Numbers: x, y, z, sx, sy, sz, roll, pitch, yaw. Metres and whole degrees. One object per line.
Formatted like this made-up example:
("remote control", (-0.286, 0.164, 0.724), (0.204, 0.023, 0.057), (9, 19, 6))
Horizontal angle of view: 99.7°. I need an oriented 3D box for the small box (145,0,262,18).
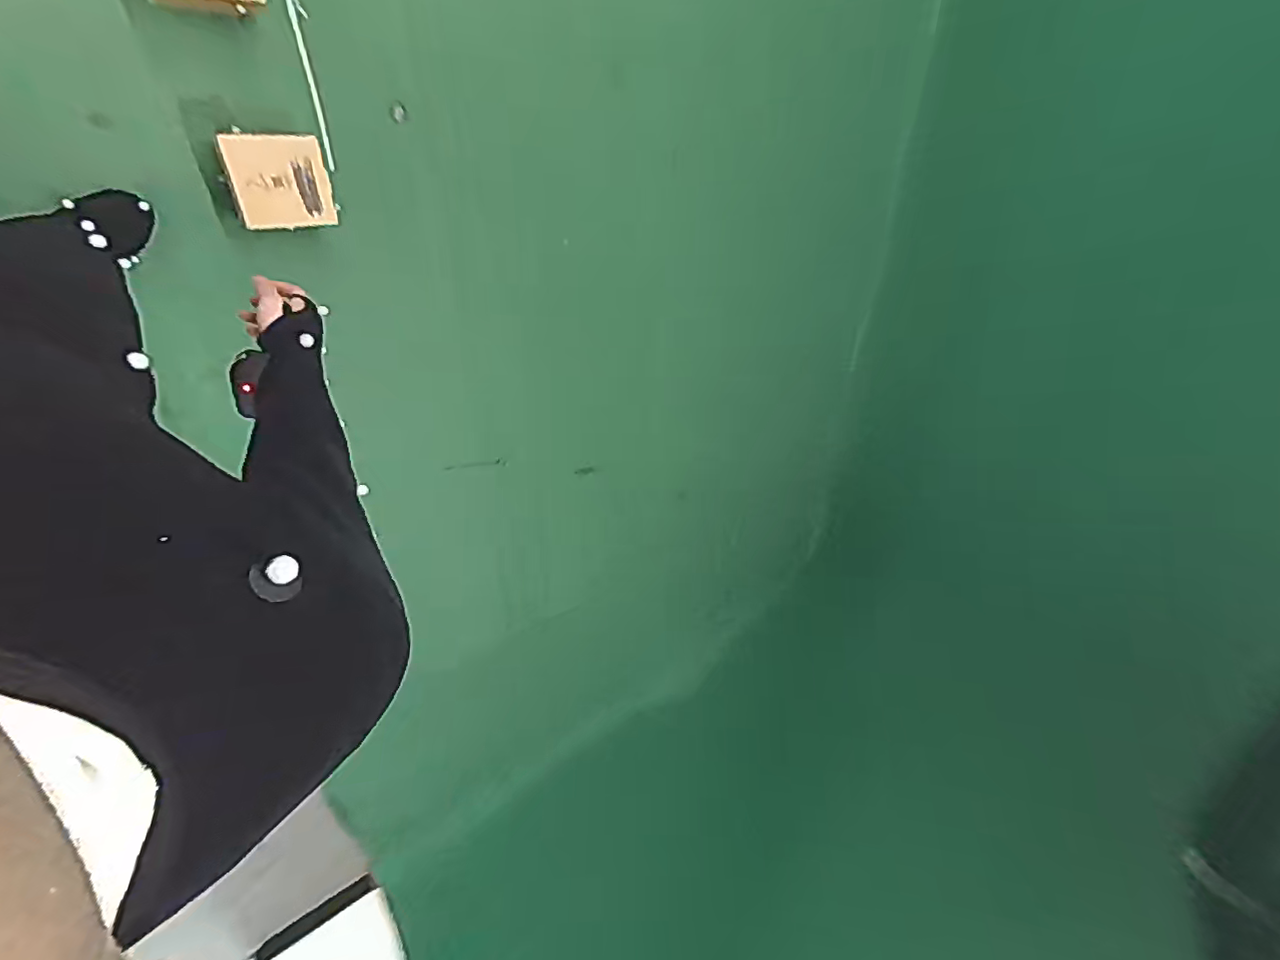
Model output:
("small box", (-0.801, -0.938, 0.950), (0.179, 0.176, 0.168), (-22, 128, -32))
